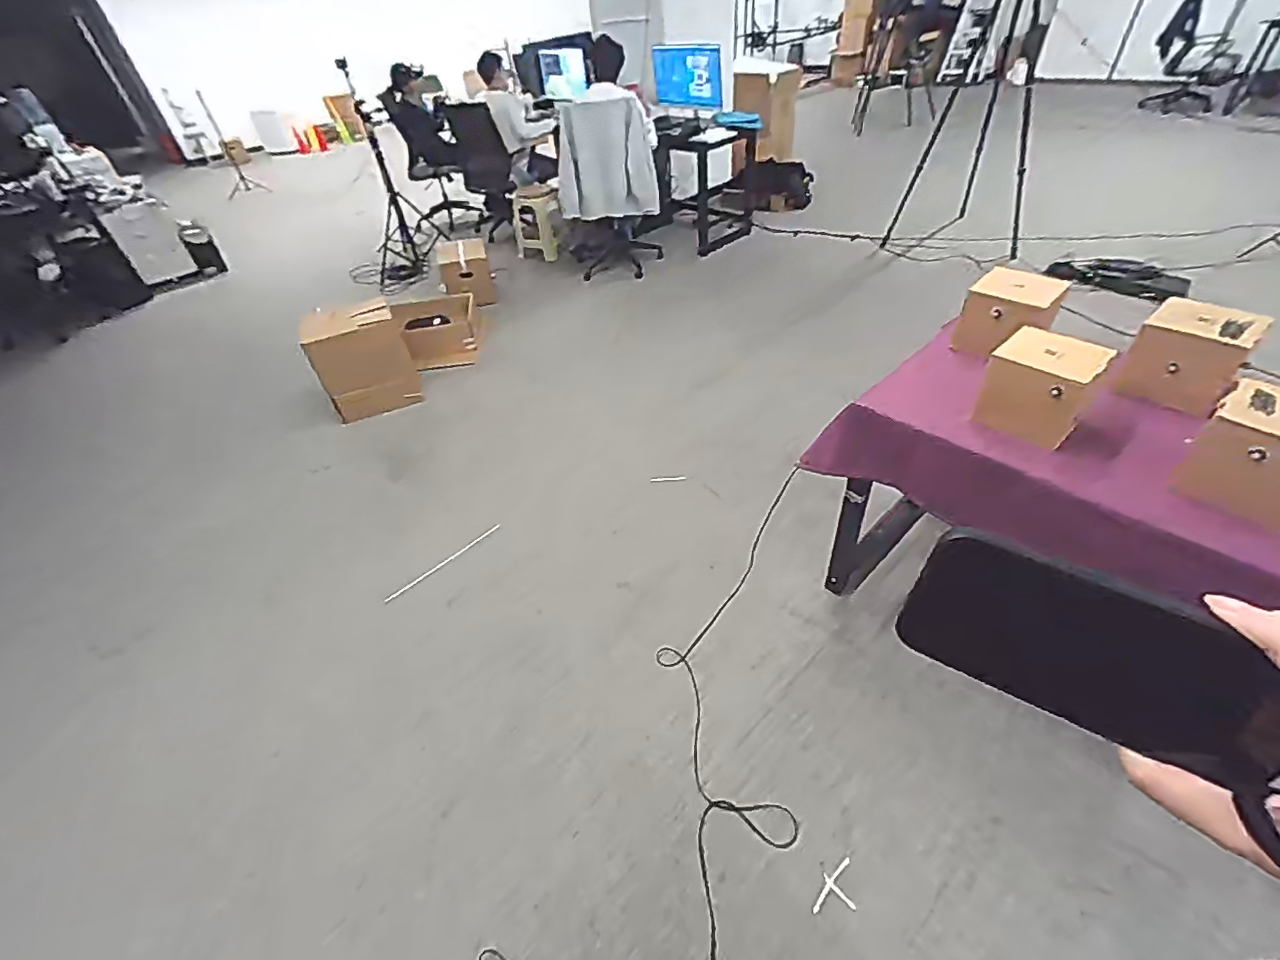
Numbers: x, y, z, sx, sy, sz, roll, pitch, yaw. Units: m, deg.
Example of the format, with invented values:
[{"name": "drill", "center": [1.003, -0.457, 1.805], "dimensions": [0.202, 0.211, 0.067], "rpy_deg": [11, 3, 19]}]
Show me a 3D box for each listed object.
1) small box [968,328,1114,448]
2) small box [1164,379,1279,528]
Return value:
[{"name": "small box", "center": [0.839, -0.196, 1.149], "dimensions": [0.168, 0.176, 0.179], "rpy_deg": [-33, 49, -27]}, {"name": "small box", "center": [1.088, -0.046, 0.949], "dimensions": [0.168, 0.176, 0.179], "rpy_deg": [-32, 49, -25]}]
